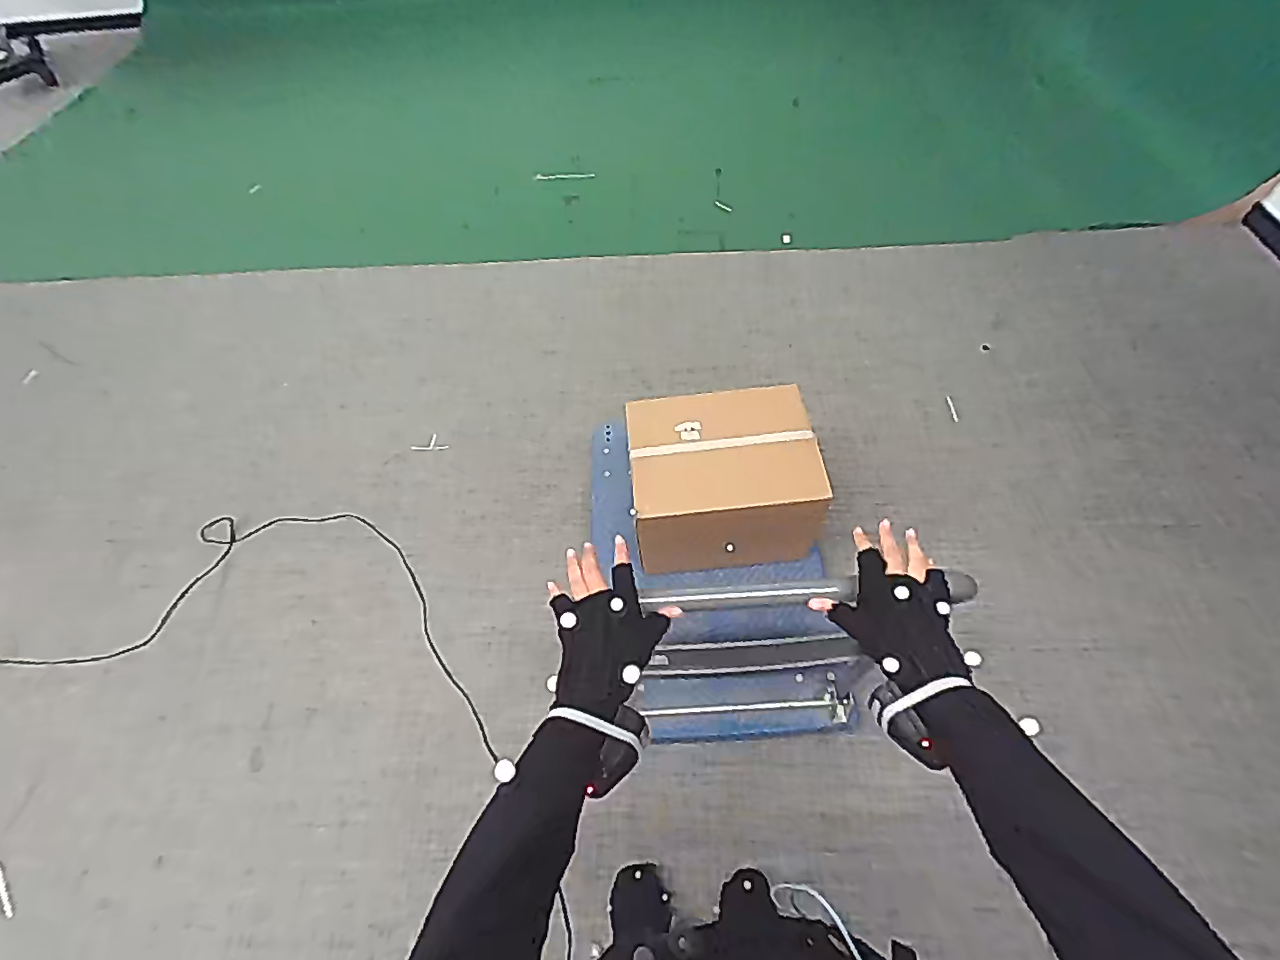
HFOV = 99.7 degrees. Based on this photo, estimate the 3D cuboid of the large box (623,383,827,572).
[{"bbox_3d":[0.186,0.004,1.313,0.408,0.320,0.320,-7,57,1],"label":"large box"}]
